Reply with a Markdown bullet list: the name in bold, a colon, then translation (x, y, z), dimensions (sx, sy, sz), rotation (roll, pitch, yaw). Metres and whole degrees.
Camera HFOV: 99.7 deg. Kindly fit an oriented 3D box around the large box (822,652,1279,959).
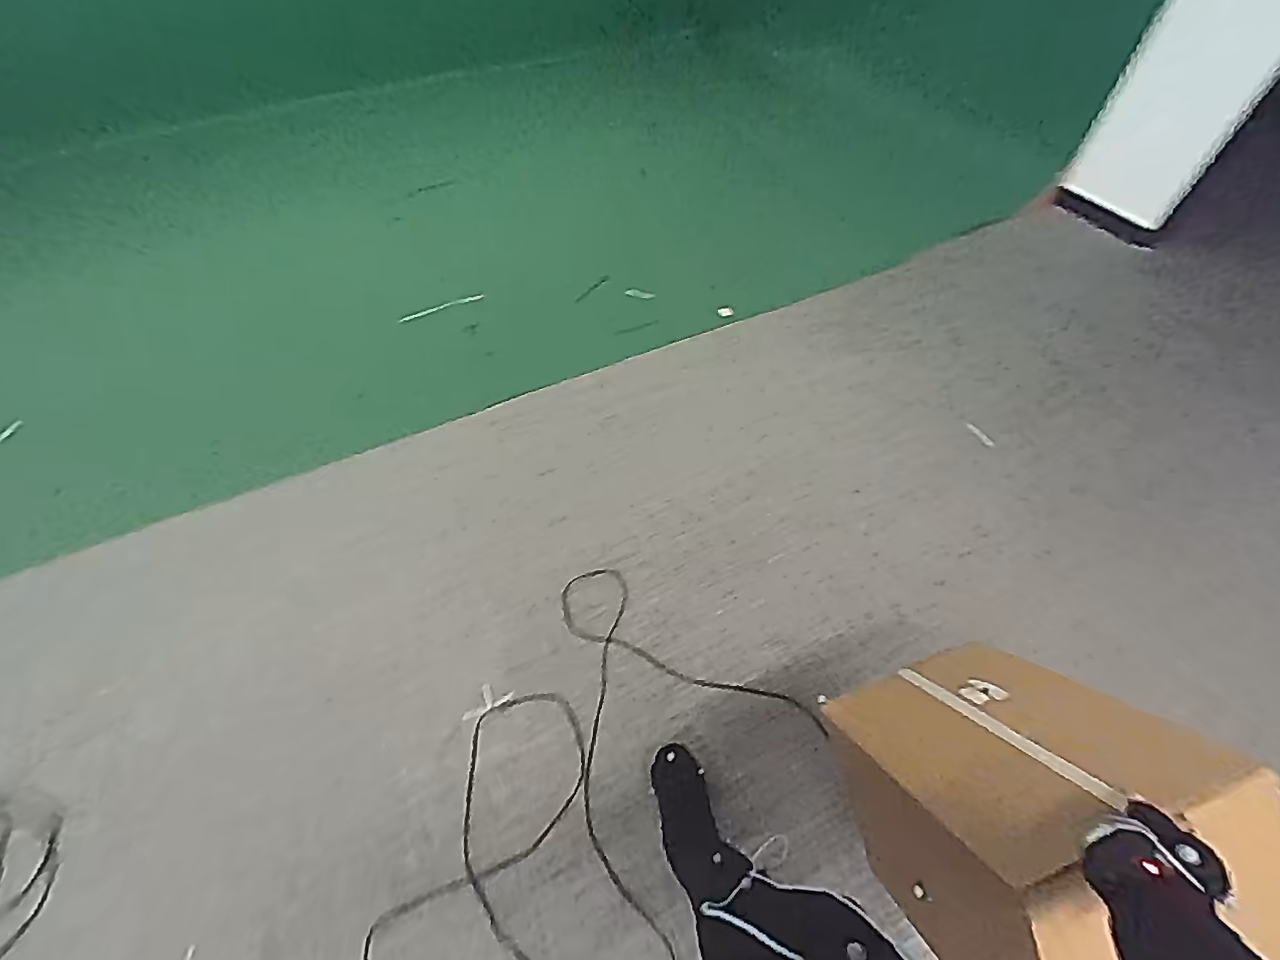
- **large box**: translation (0.529, 0.496, 0.752), dimensions (0.320, 0.408, 0.320), rotation (-18, 93, -8)
